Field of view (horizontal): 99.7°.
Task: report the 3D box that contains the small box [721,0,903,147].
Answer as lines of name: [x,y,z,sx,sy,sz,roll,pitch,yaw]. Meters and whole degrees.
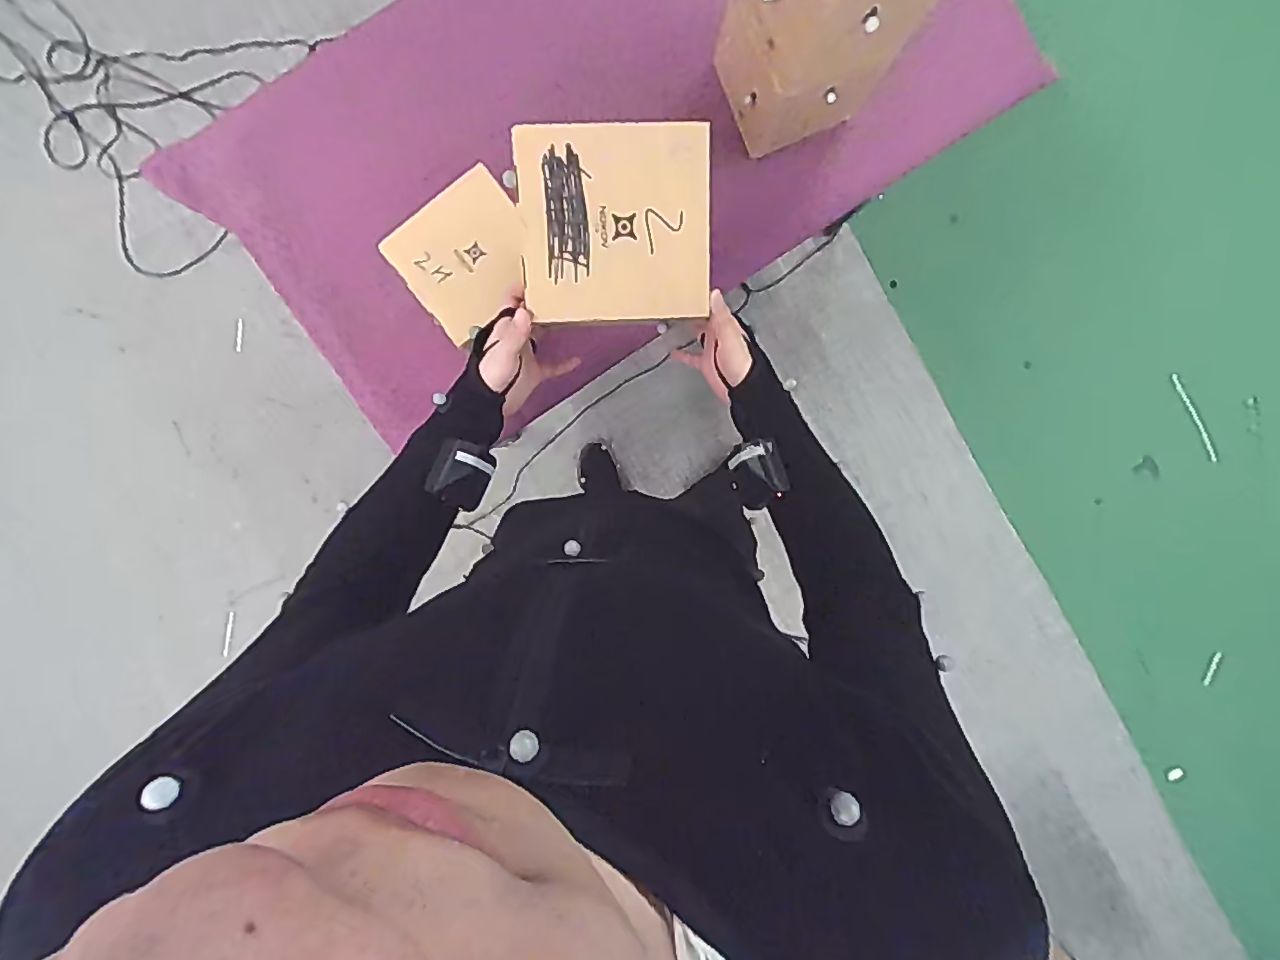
small box: [0.225,-0.613,0.762,0.179,0.176,0.168,-22,97,0]

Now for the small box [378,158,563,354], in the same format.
small box: [-0.224,-0.303,0.774,0.179,0.176,0.168,-38,96,2]
